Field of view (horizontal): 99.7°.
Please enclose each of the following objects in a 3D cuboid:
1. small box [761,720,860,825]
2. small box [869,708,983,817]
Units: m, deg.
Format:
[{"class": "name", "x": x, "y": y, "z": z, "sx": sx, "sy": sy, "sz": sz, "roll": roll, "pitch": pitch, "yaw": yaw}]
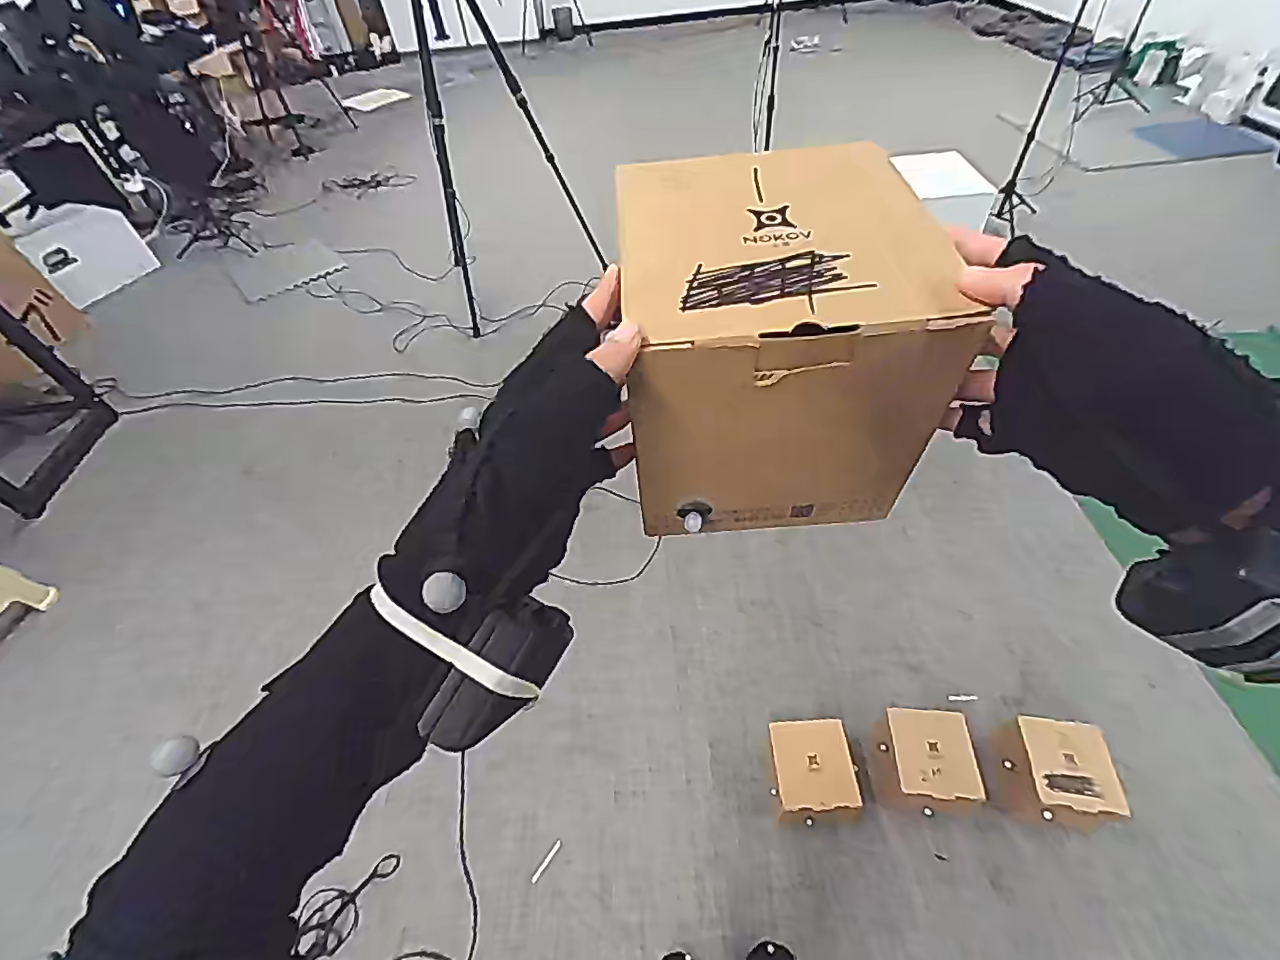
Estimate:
[{"class": "small box", "x": 0.376, "y": 0.664, "z": 1.226, "sx": 0.168, "sy": 0.176, "sz": 0.179, "roll": -4, "pitch": 49, "yaw": 2}, {"class": "small box", "x": 0.631, "y": 0.638, "z": 1.220, "sx": 0.168, "sy": 0.176, "sz": 0.179, "roll": 1, "pitch": 50, "yaw": 8}]
